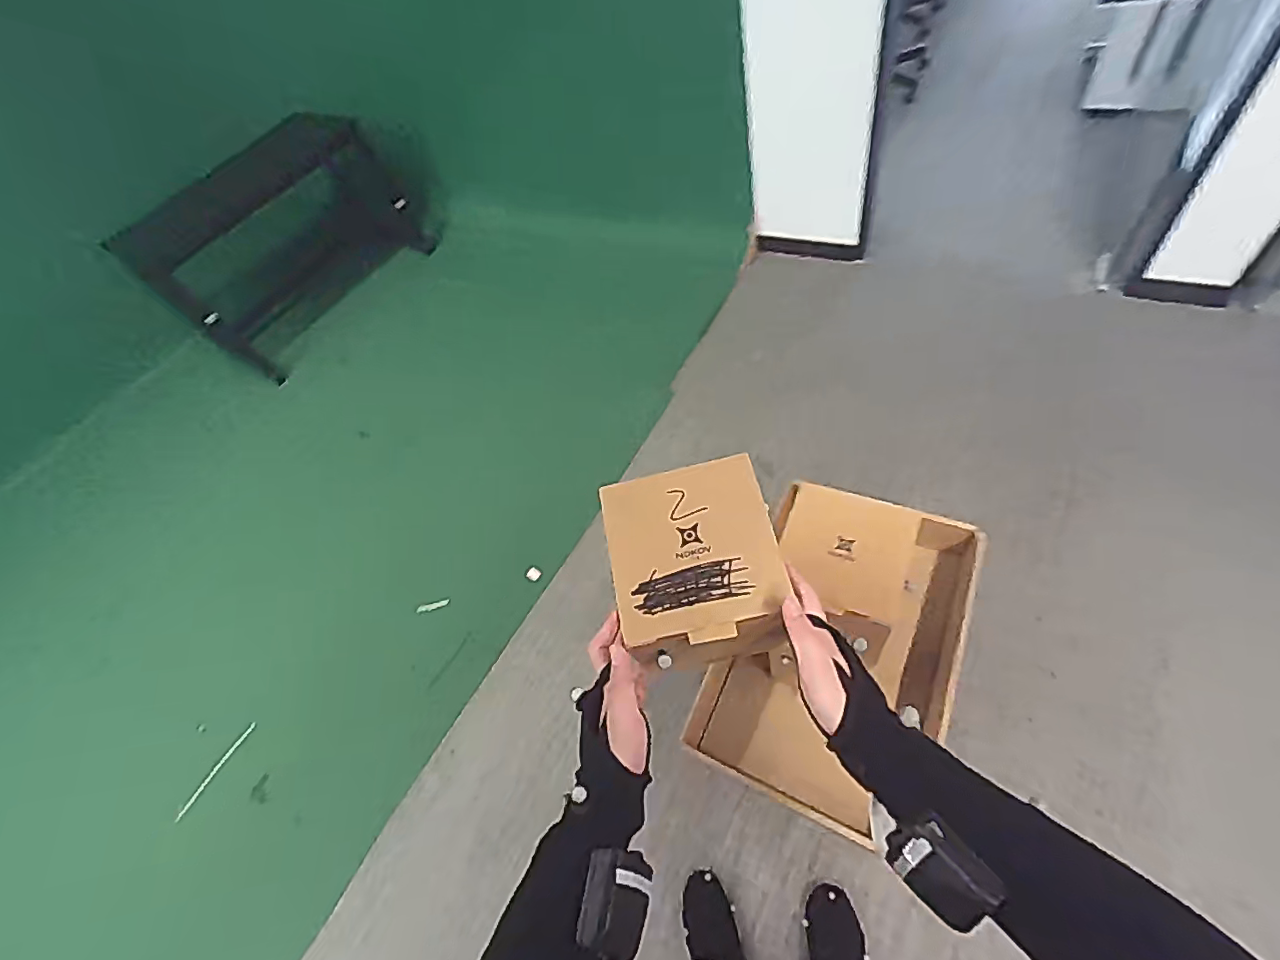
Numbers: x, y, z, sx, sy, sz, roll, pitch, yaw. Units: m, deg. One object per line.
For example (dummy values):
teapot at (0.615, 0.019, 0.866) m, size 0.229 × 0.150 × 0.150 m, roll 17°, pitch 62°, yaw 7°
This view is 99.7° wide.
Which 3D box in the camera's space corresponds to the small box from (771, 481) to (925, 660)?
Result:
small box at (0.295, 0.134, 0.791) m, size 0.168 × 0.176 × 0.179 m, roll 16°, pitch 62°, yaw 23°

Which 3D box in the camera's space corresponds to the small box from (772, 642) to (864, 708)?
small box at (0.365, 0.313, 1.054) m, size 0.168 × 0.176 × 0.179 m, roll 18°, pitch 62°, yaw 26°

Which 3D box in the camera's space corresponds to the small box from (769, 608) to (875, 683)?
small box at (0.329, 0.221, 0.924) m, size 0.168 × 0.176 × 0.179 m, roll 16°, pitch 60°, yaw 24°
